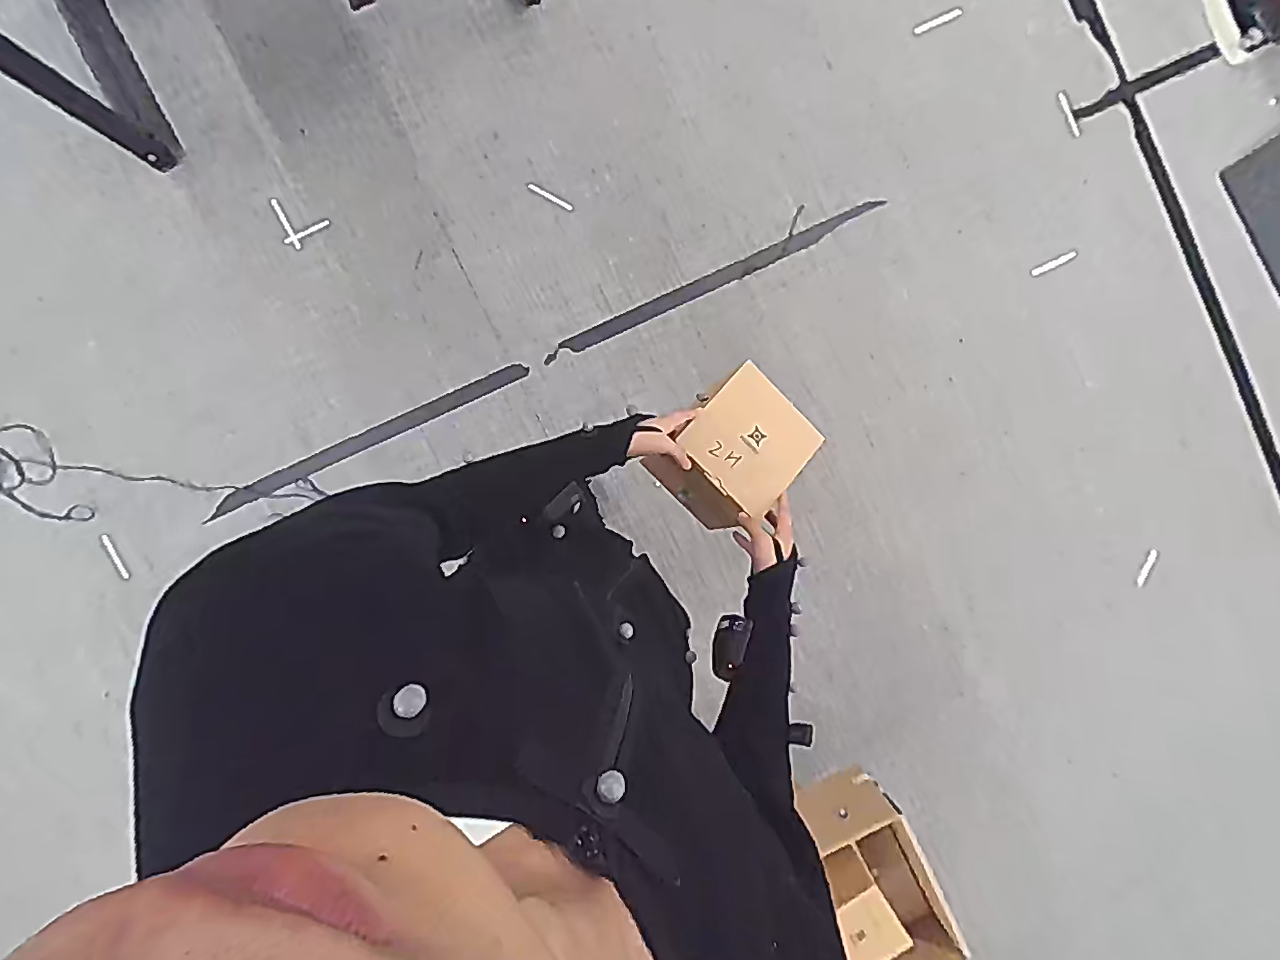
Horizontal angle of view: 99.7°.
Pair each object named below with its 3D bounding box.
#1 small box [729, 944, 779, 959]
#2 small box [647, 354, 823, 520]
[{"bbox_3d":[0.236,1.071,1.046,0.168,0.176,0.179,-23,96,-2],"label":"small box"},{"bbox_3d":[0.136,-0.056,0.834,0.168,0.176,0.179,44,74,-7],"label":"small box"}]
